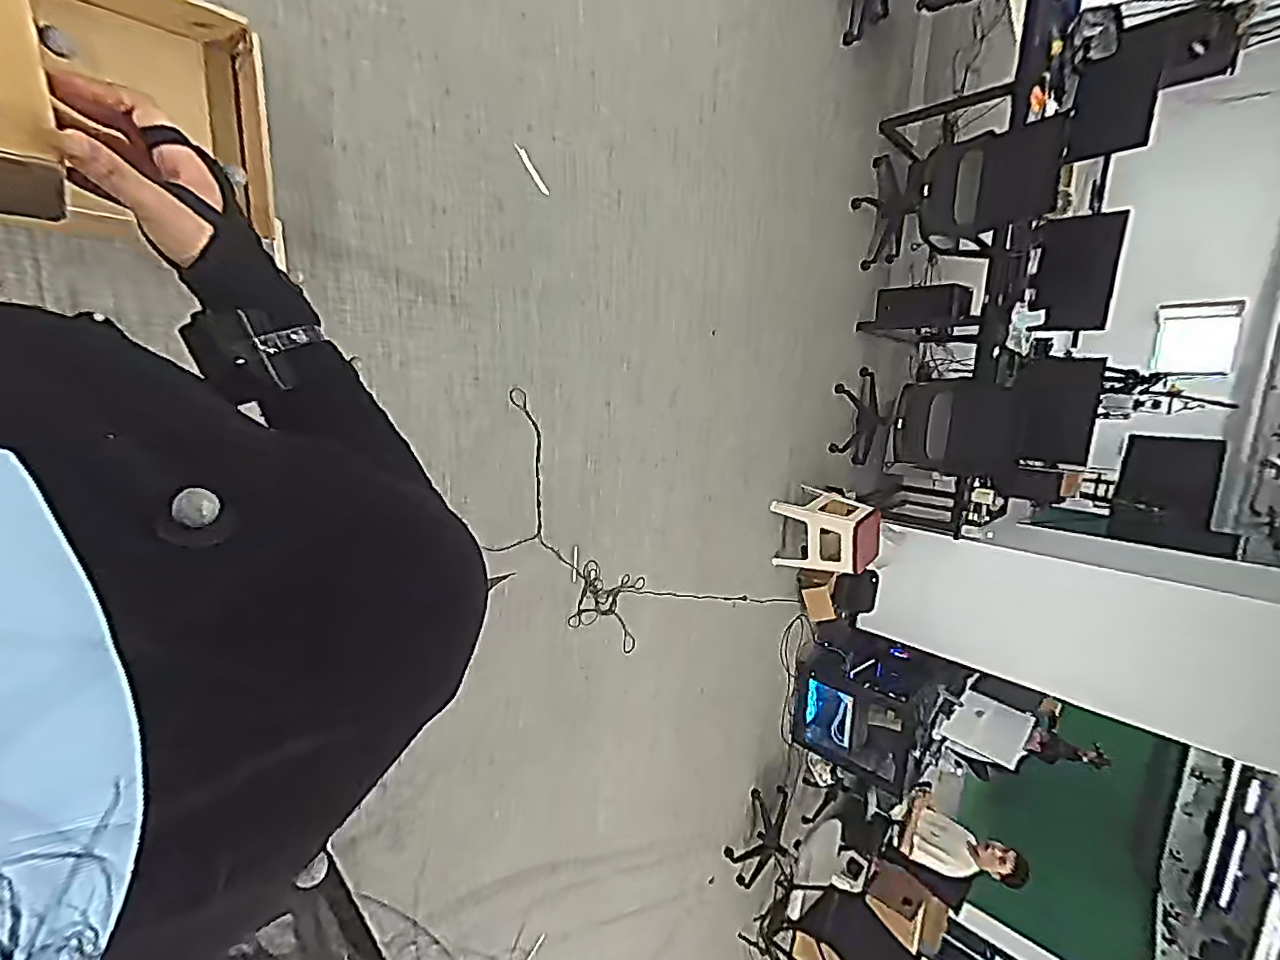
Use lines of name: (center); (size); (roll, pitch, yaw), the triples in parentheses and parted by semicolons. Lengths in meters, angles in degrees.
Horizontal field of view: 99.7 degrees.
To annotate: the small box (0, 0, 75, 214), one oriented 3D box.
small box: (-0.437, -0.263, 0.288); (0.168, 0.176, 0.179); (-12, 108, -45)
